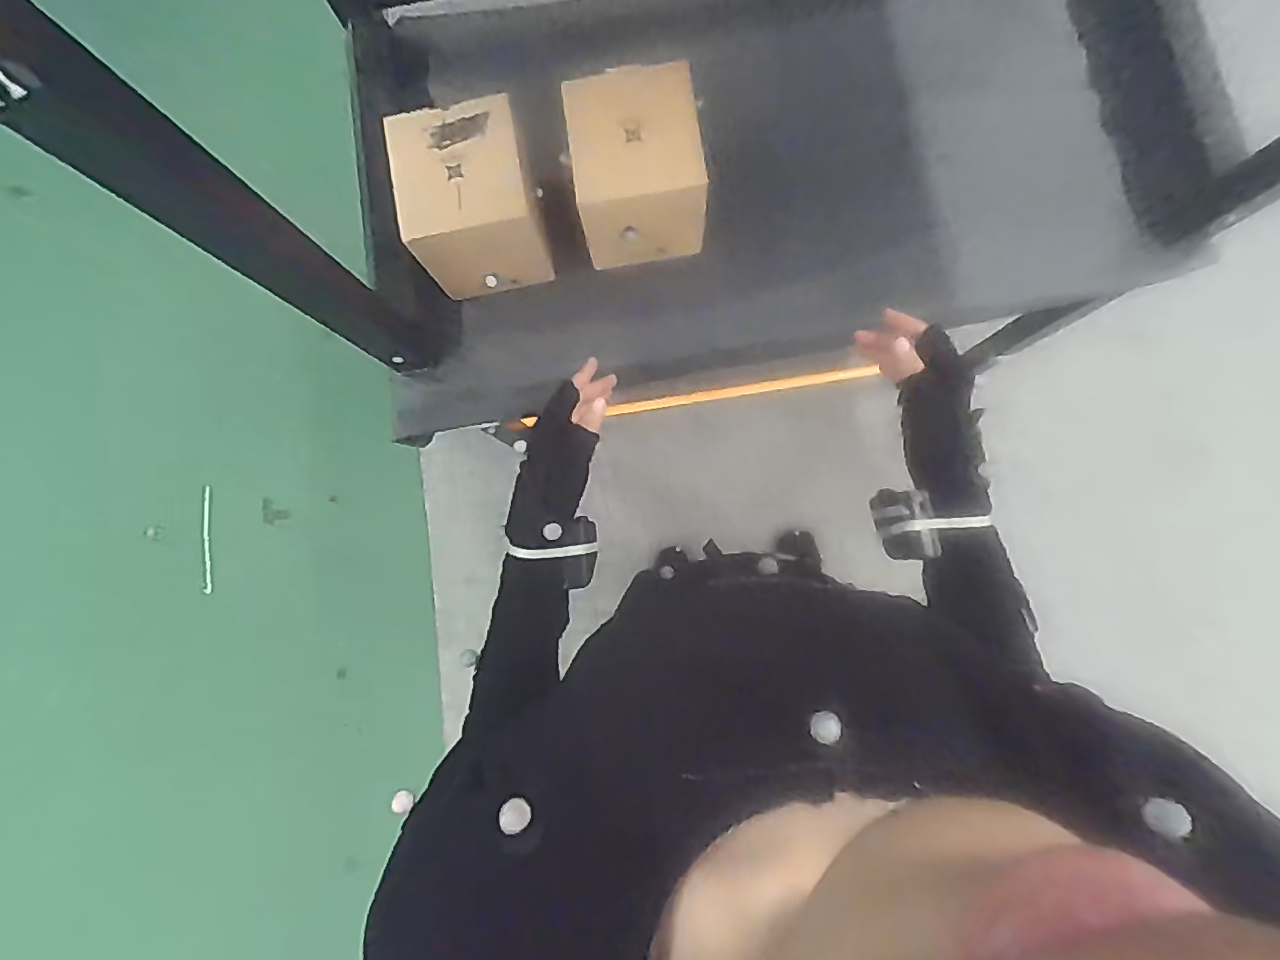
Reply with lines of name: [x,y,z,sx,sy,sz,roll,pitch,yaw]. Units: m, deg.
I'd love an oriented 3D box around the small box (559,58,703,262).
small box: [-0.006,-0.424,0.751,0.168,0.176,0.179,-9,81,2]

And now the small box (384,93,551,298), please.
small box: [-0.230,-0.385,0.757,0.168,0.176,0.179,-11,82,2]
